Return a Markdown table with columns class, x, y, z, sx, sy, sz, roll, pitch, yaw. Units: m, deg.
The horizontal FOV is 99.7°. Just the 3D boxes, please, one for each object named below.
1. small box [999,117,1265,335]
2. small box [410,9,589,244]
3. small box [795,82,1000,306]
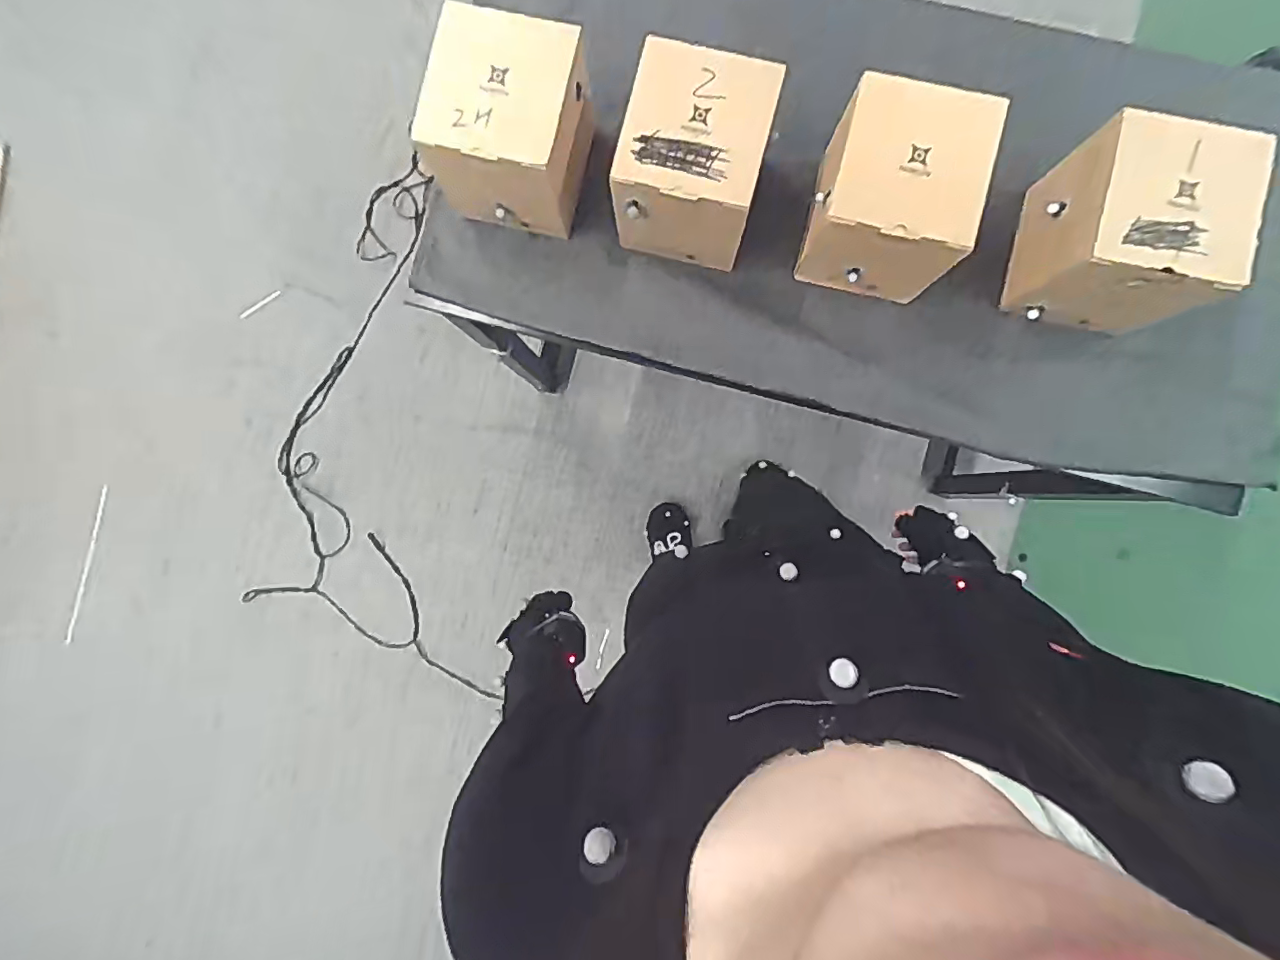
| class | x | y | z | sx | sy | sz | roll | pitch | yaw |
| --- | --- | --- | --- | --- | --- | --- | --- | --- | --- |
| small box | 0.589 | -0.299 | 0.674 | 0.168 | 0.176 | 0.179 | 13 | 88 | 3 |
| small box | -0.167 | -0.444 | 0.705 | 0.168 | 0.176 | 0.179 | 13 | 87 | 2 |
| small box | 0.311 | -0.349 | 0.690 | 0.168 | 0.176 | 0.179 | 13 | 89 | 2 |
